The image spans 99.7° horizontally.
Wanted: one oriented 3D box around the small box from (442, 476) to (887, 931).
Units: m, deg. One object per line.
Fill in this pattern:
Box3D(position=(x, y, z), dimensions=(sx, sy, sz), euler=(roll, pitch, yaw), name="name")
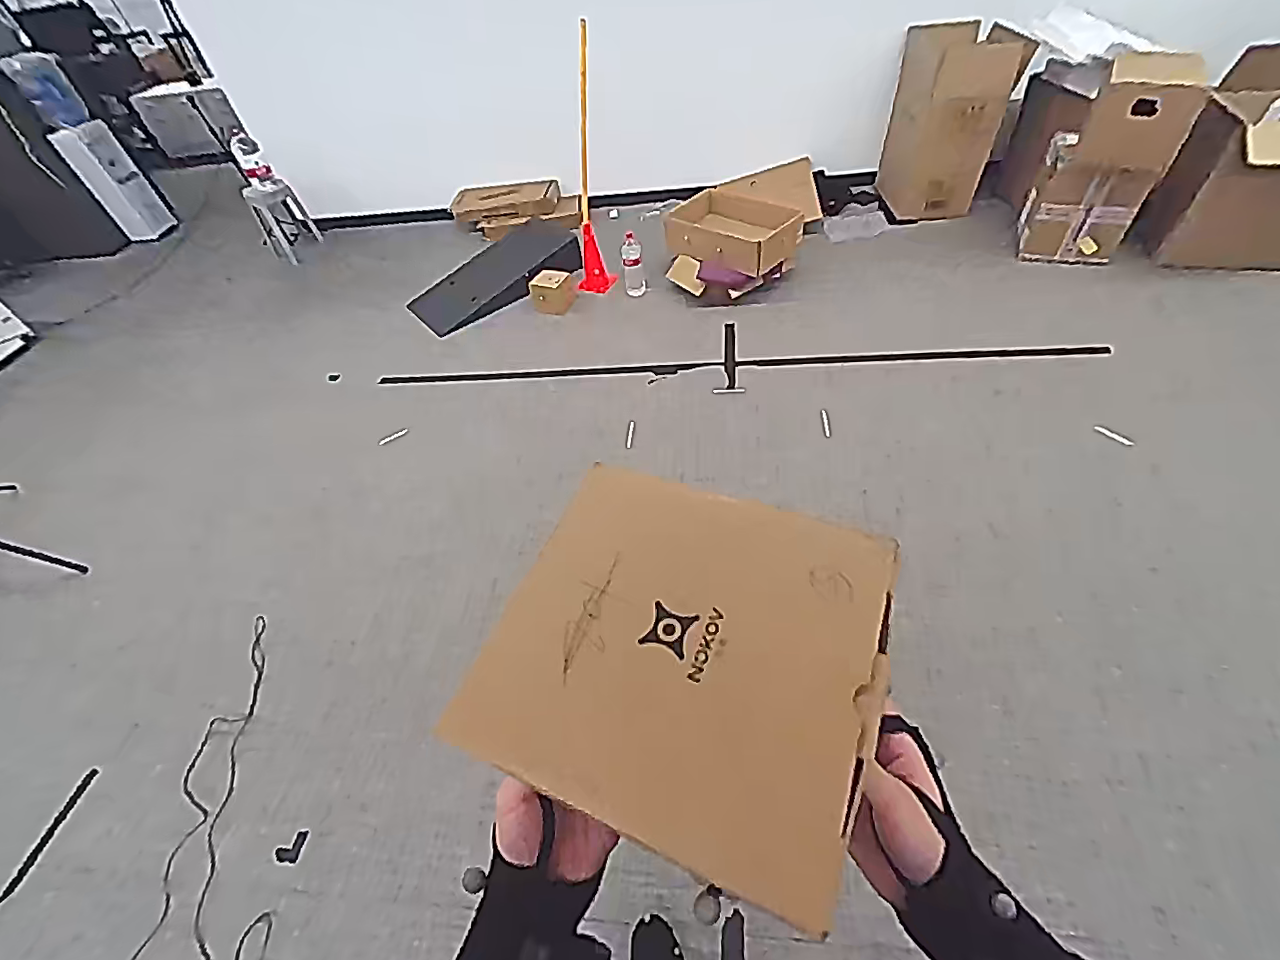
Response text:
Box3D(position=(0.028, 0.127, 0.325), dimensions=(0.179, 0.176, 0.168), euler=(14, 56, 21), name="small box")
